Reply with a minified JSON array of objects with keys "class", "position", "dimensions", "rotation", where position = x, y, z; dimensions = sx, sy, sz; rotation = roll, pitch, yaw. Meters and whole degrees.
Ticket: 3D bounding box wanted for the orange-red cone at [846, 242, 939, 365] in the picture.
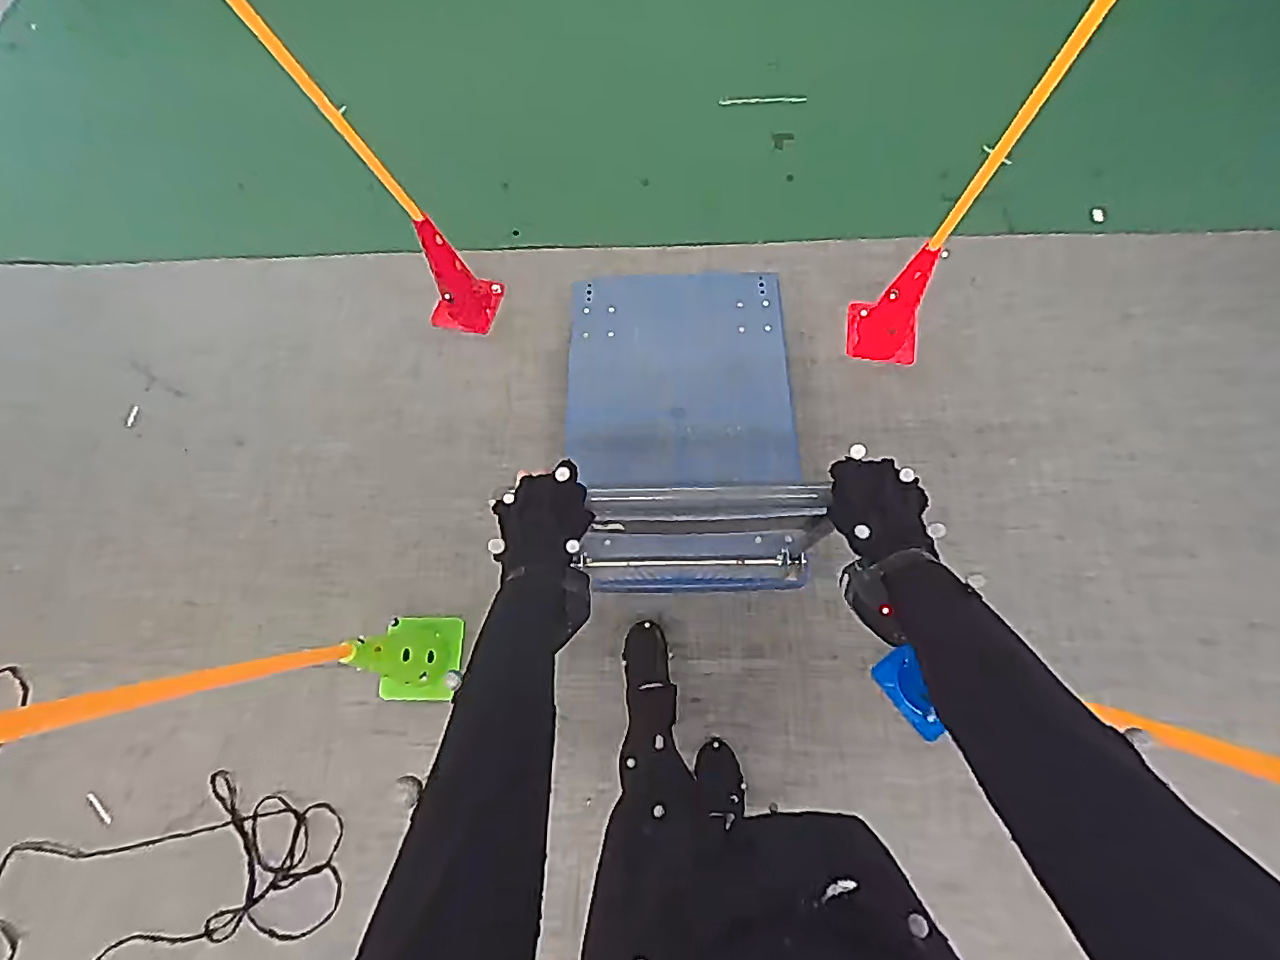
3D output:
[{"class":"orange-red cone","position":[0.712,-0.497,1.460],"dimensions":[0.198,0.360,0.199],"rotation":[10,72,8]}]
